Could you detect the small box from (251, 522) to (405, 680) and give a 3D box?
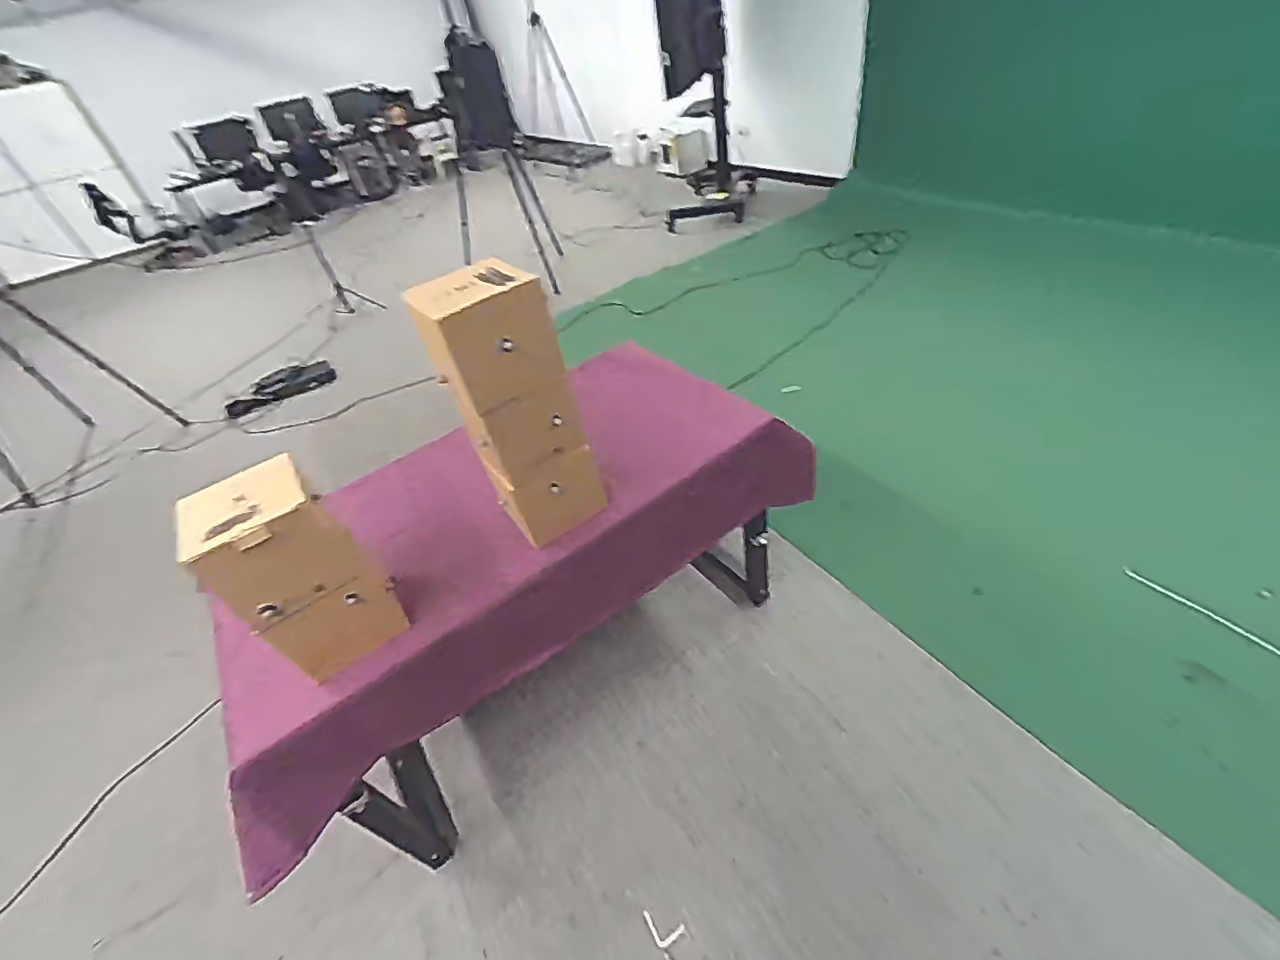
[{"bbox_3d":[-0.552,0.214,0.957,0.179,0.176,0.168,-31,45,-21],"label":"small box"}]

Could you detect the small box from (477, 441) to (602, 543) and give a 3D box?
[{"bbox_3d":[-0.200,-0.003,1.106,0.179,0.176,0.168,-31,45,-19],"label":"small box"}]

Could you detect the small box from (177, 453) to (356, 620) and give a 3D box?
[{"bbox_3d":[-0.579,0.093,0.850,0.168,0.176,0.179,-32,43,-22],"label":"small box"}]

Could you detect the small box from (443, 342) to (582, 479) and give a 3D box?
[{"bbox_3d":[-0.229,-0.125,1.002,0.168,0.176,0.179,-32,44,-21],"label":"small box"}]
